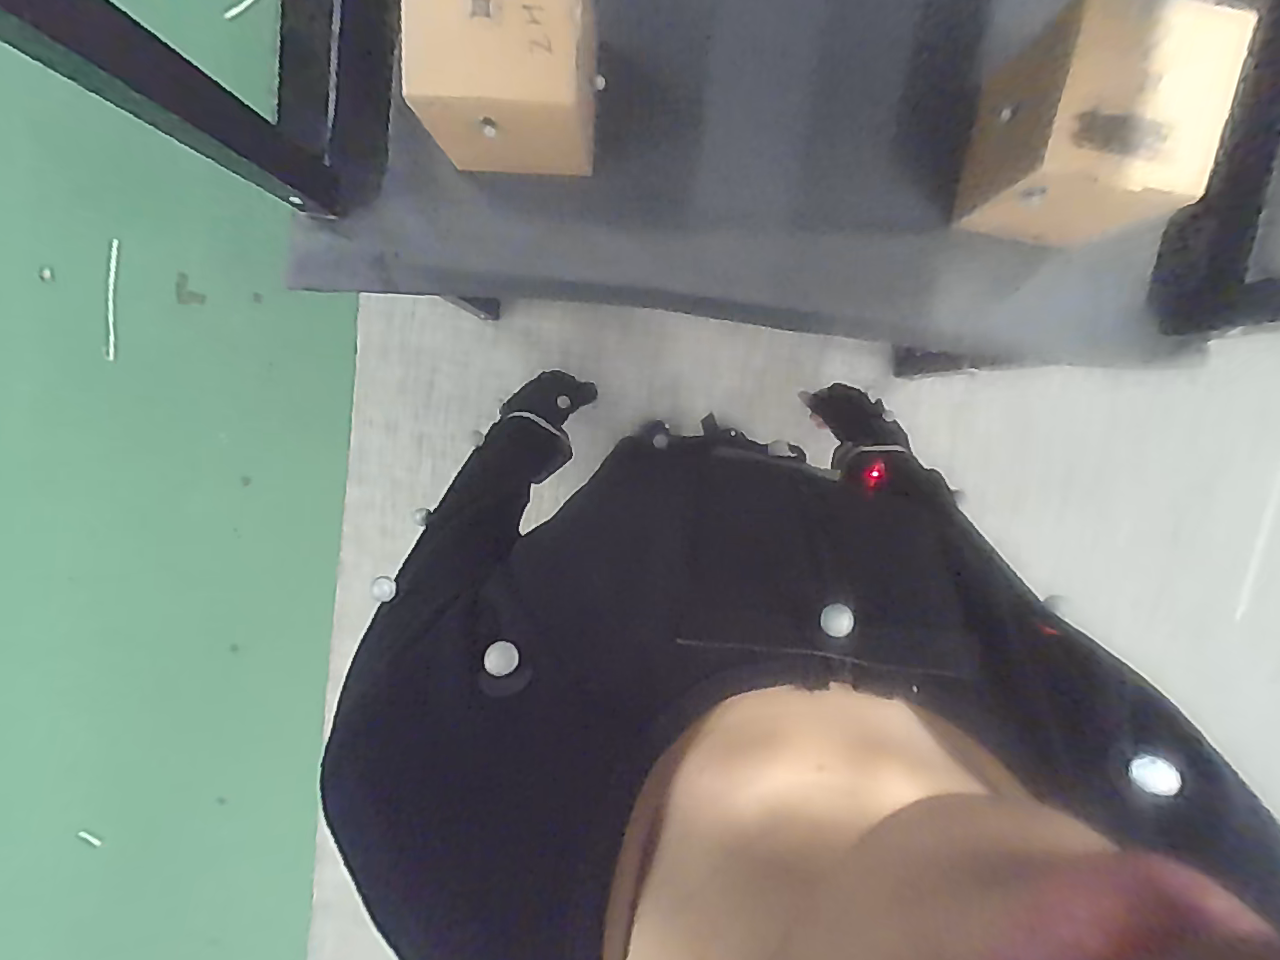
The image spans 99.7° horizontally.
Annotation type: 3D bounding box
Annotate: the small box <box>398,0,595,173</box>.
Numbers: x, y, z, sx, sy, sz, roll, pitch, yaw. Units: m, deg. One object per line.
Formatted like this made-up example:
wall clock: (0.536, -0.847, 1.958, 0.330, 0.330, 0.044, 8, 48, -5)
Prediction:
small box: (-0.149, -0.468, 0.607, 0.179, 0.176, 0.168, 3, 98, 0)
